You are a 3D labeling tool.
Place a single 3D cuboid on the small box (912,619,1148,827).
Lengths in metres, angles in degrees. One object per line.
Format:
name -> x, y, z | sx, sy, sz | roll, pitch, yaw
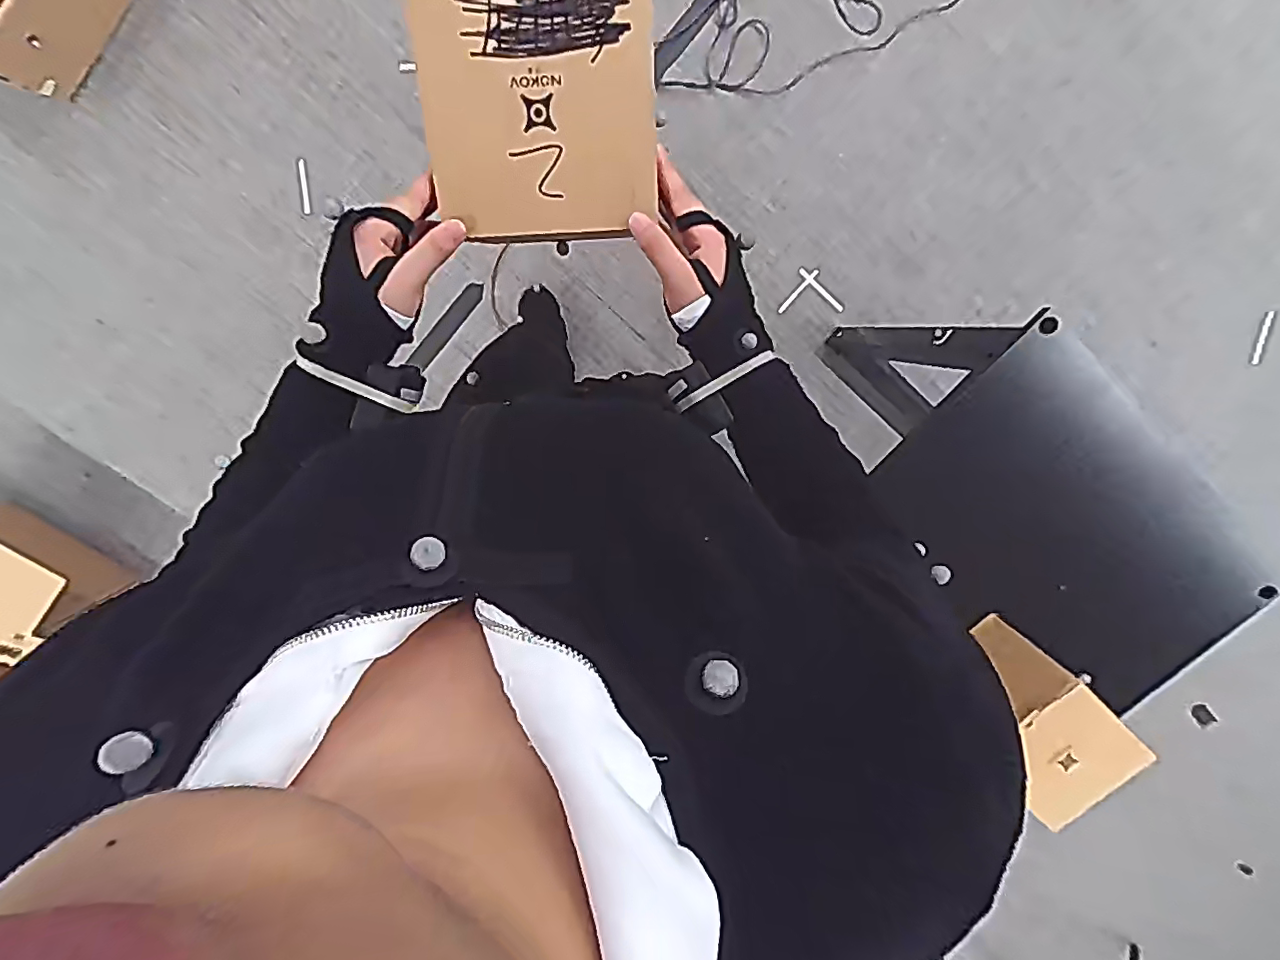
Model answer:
small box -> 0.538, 0.334, 0.772 | 0.179, 0.176, 0.168 | 41, 101, -11
